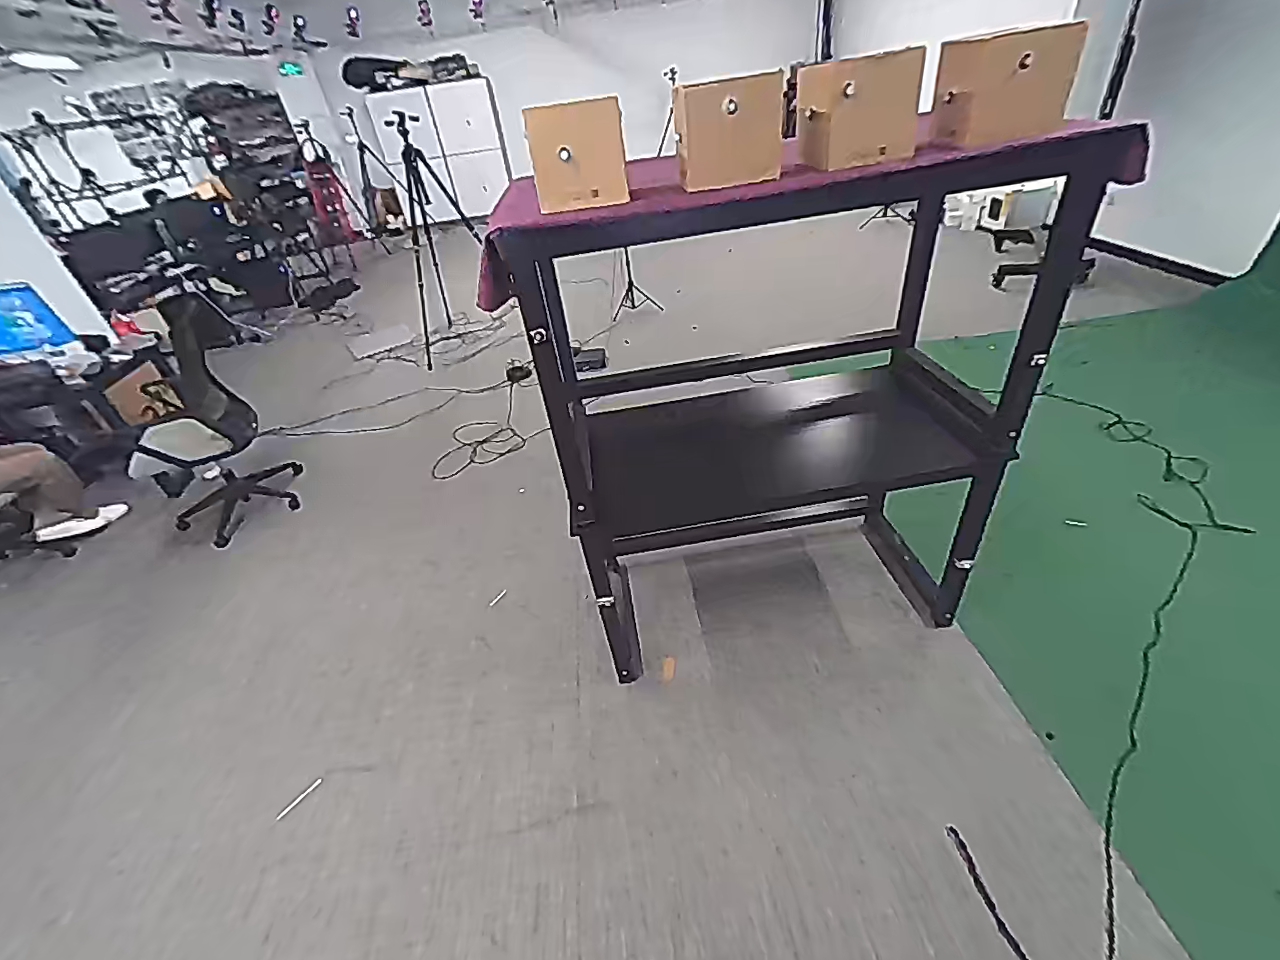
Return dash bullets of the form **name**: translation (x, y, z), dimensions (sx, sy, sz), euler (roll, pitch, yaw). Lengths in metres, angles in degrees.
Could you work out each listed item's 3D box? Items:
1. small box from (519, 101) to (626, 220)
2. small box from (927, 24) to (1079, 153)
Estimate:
- **small box**: translation (-0.119, -0.602, 1.024), dimensions (0.168, 0.176, 0.179), euler (-7, 35, 2)
- **small box**: translation (0.670, -0.738, 1.029), dimensions (0.179, 0.176, 0.168), euler (-8, 37, 3)
